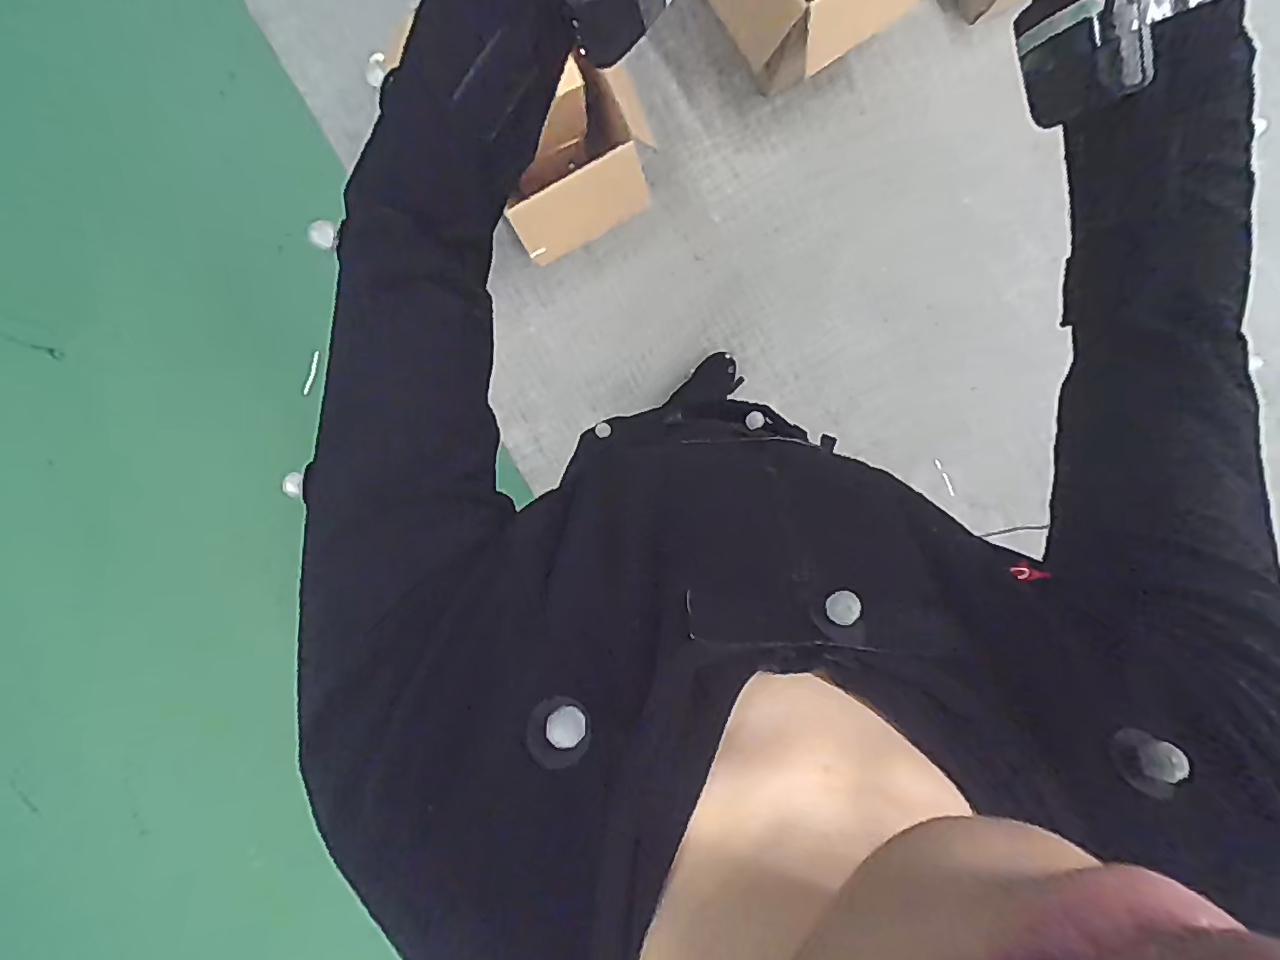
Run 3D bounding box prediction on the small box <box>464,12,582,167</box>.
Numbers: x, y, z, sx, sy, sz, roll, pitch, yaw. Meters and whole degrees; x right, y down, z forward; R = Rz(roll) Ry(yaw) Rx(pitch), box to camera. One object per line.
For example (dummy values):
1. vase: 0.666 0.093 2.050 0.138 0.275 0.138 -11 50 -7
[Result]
1. small box: -0.230 -0.793 1.117 0.179 0.176 0.168 -25 95 0
